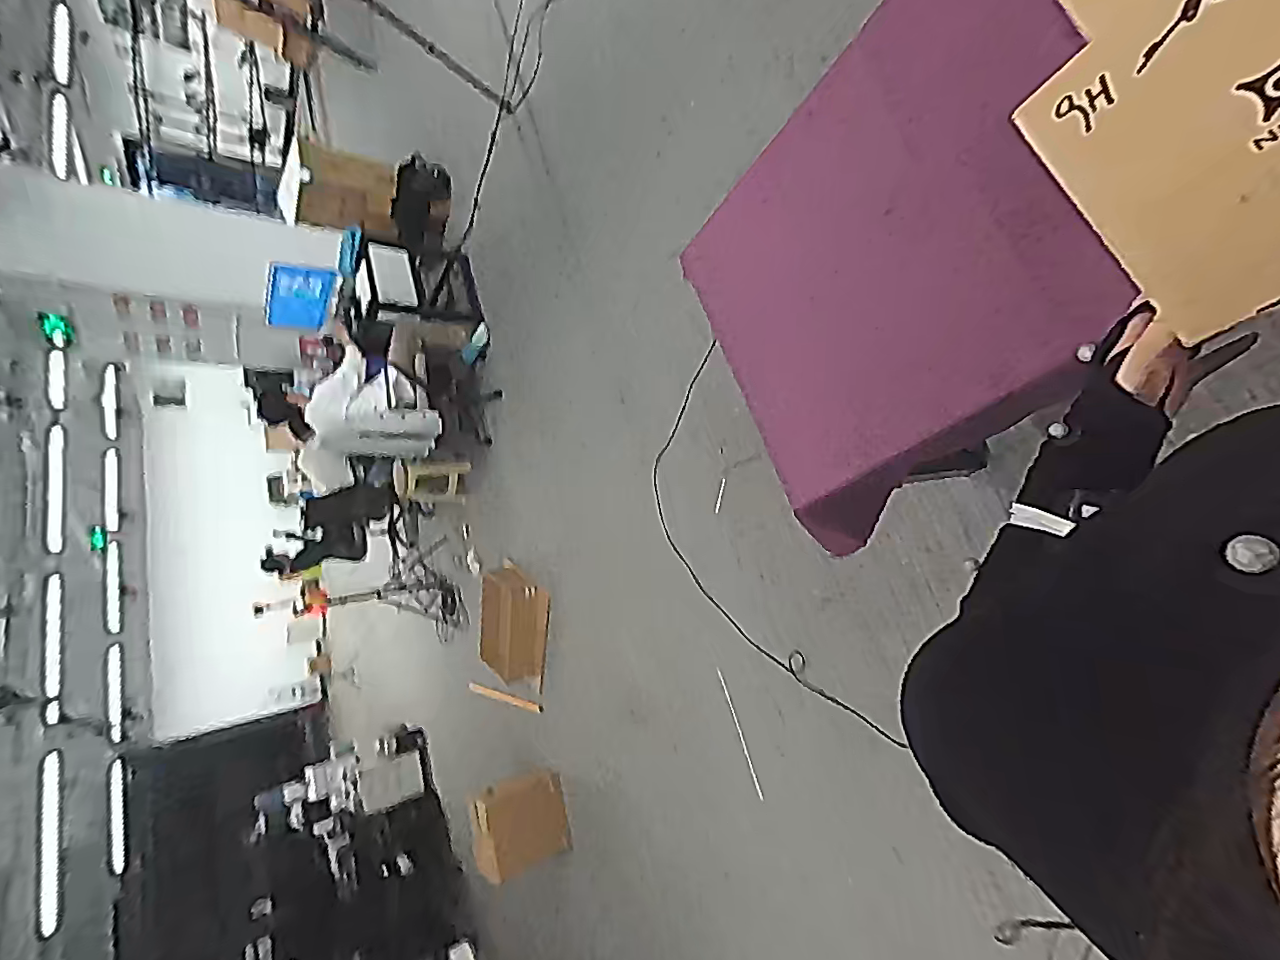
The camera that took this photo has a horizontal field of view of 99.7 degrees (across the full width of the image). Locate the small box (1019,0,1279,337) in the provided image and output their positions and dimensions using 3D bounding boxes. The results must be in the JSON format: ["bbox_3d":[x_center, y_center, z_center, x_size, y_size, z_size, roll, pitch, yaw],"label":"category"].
[{"bbox_3d":[0.371,-0.215,0.311,0.179,0.176,0.168,59,142,4],"label":"small box"}]
